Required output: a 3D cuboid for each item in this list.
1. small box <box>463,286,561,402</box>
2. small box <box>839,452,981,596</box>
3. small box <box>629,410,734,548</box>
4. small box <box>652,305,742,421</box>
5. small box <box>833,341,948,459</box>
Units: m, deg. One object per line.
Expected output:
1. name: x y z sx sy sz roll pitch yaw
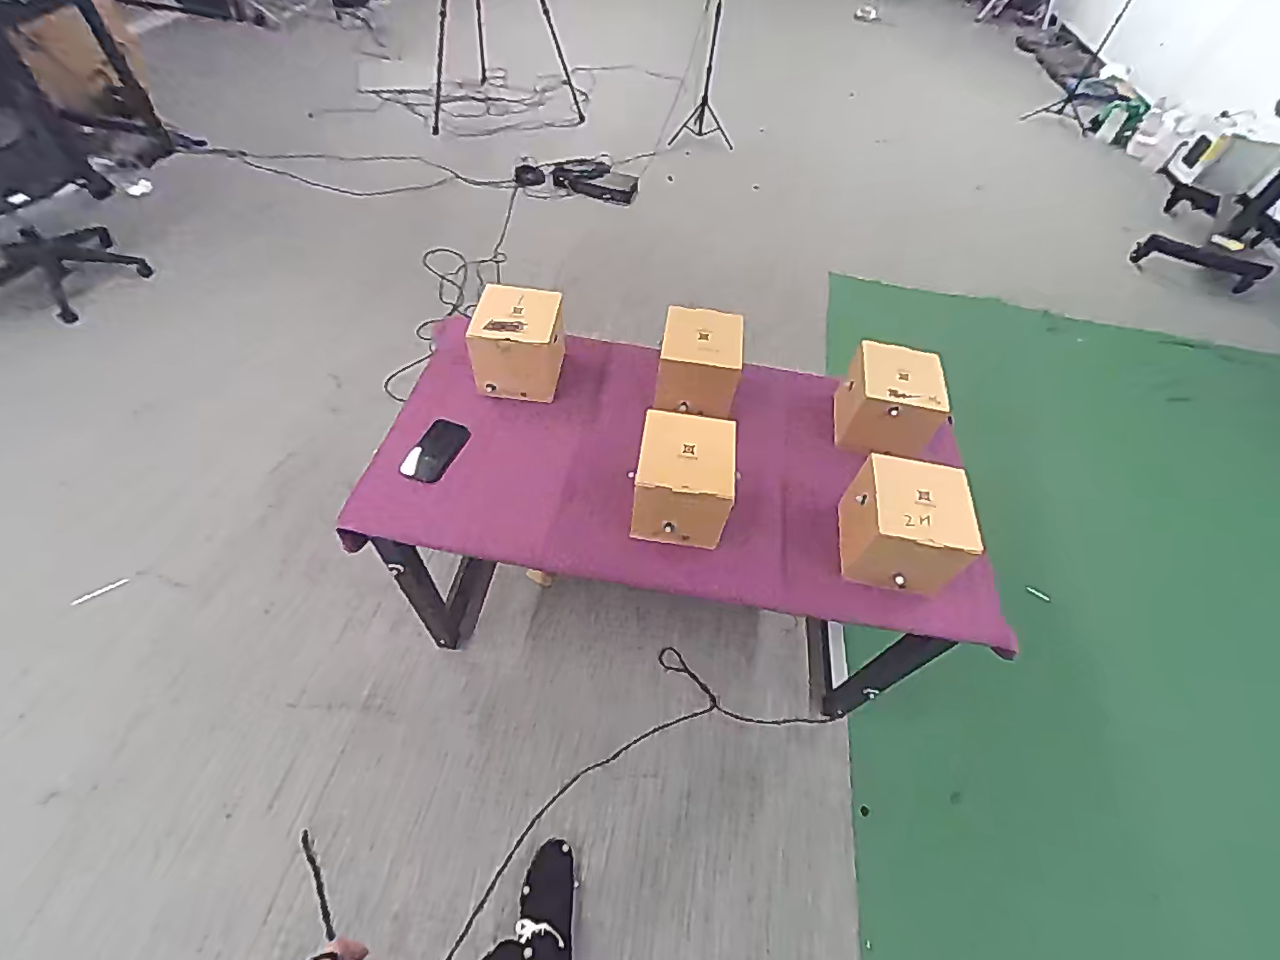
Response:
1. small box: -0.266 -0.291 1.170 0.168 0.176 0.179 7 52 -1
2. small box: 0.464 0.081 0.962 0.168 0.176 0.179 11 53 4
3. small box: 0.073 0.000 0.989 0.168 0.176 0.179 8 53 0
4. small box: 0.121 -0.249 1.180 0.168 0.176 0.179 9 54 2
5. small box: 0.522 -0.165 1.155 0.168 0.176 0.179 11 53 4
